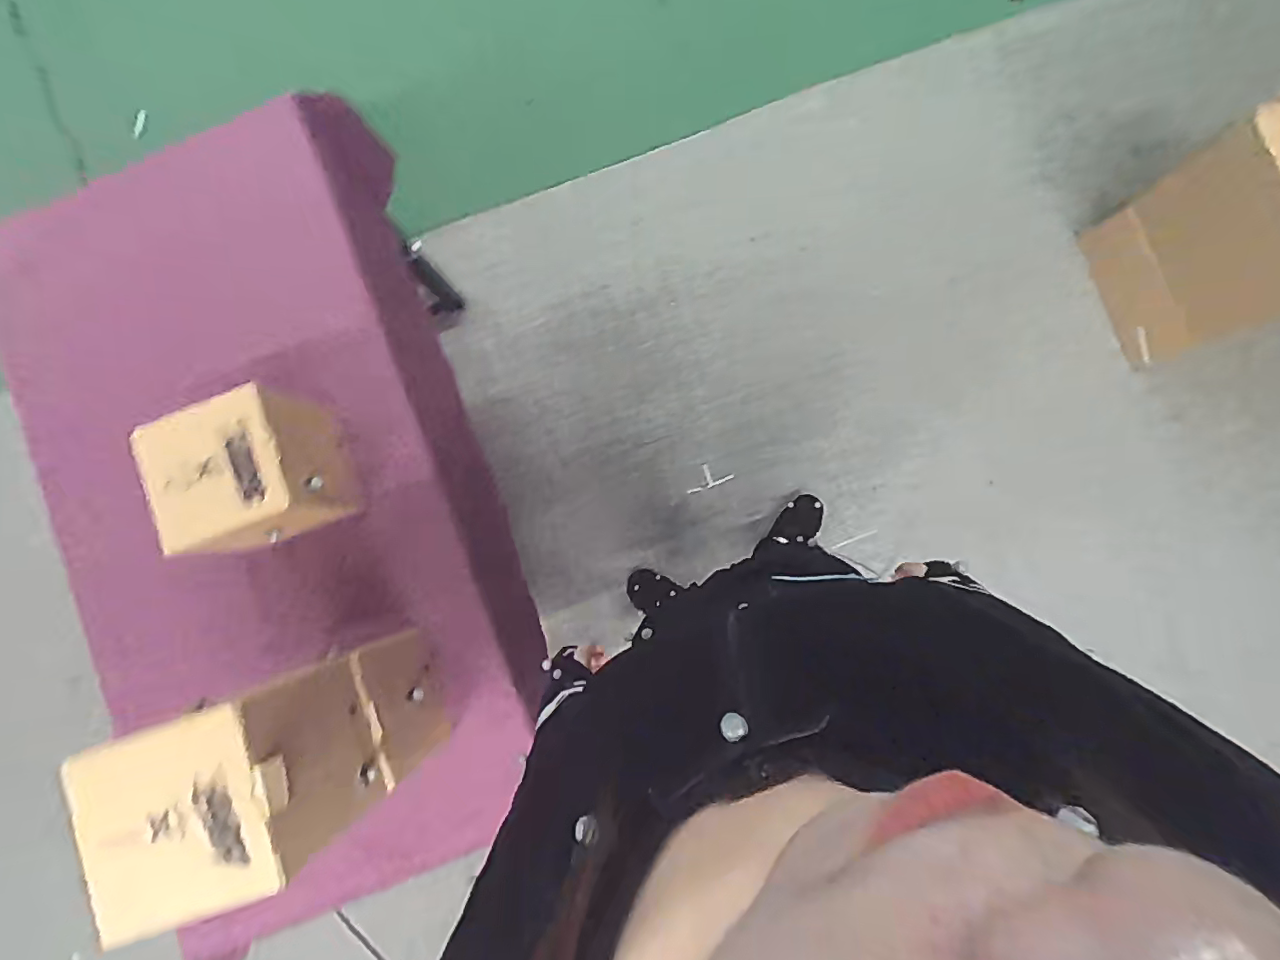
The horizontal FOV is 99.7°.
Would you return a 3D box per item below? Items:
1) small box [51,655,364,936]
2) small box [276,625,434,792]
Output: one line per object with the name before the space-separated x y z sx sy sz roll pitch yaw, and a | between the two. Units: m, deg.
small box | -0.413 0.298 0.553 0.179 0.176 0.168 -19 86 3
small box | -0.397 0.307 0.717 0.179 0.176 0.168 -20 85 1
